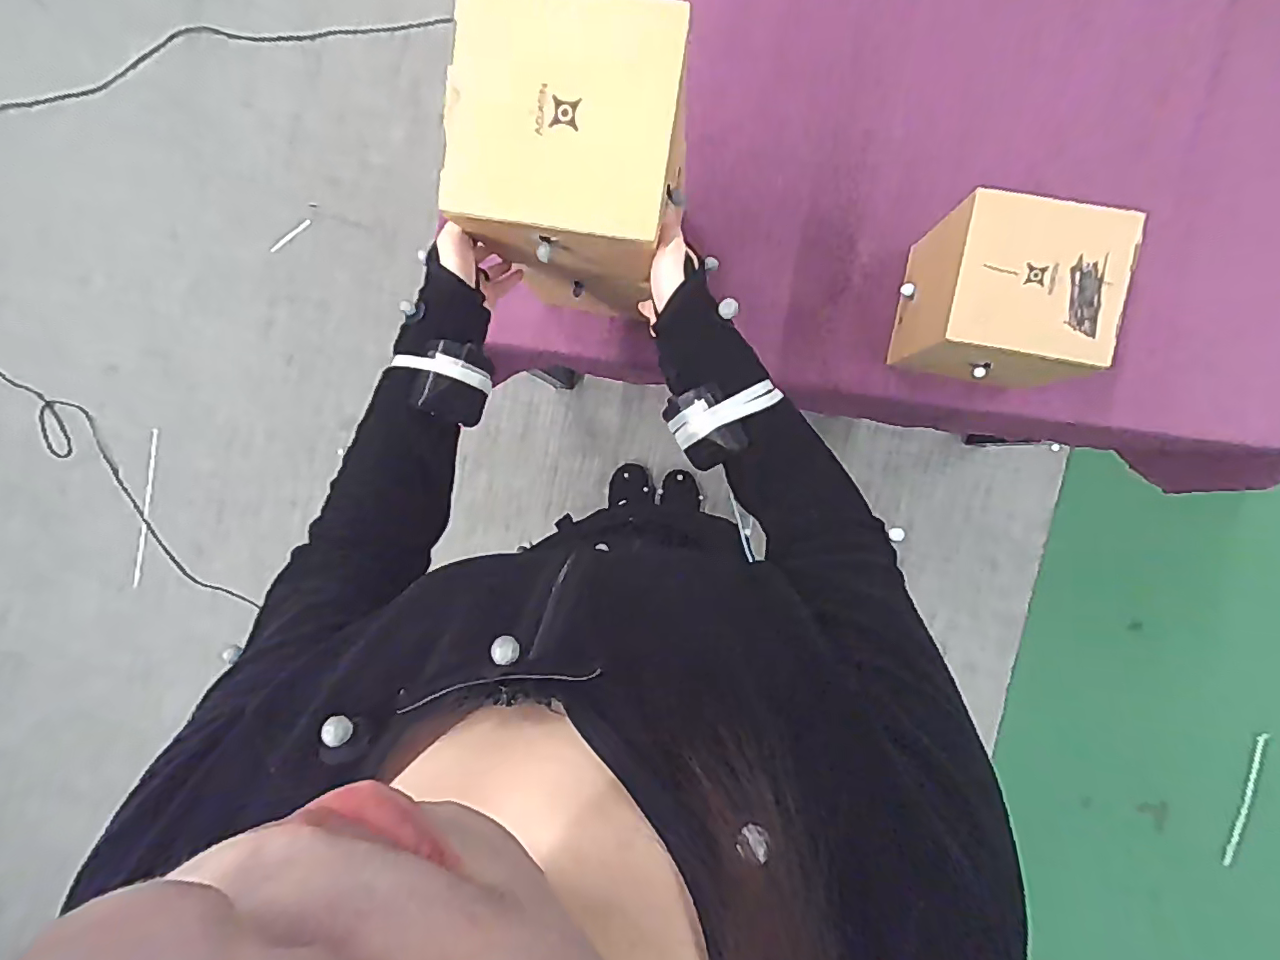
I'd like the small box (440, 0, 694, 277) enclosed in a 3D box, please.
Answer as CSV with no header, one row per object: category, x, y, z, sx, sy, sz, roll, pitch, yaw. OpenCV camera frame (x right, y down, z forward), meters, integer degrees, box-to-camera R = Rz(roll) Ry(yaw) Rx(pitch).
small box,-0.052,-0.286,0.479,0.179,0.176,0.168,10,102,4

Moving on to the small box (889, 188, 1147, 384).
small box,0.432,-0.216,0.650,0.179,0.176,0.168,12,93,4

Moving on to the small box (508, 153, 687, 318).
small box,-0.043,-0.314,0.676,0.179,0.176,0.168,12,94,4
